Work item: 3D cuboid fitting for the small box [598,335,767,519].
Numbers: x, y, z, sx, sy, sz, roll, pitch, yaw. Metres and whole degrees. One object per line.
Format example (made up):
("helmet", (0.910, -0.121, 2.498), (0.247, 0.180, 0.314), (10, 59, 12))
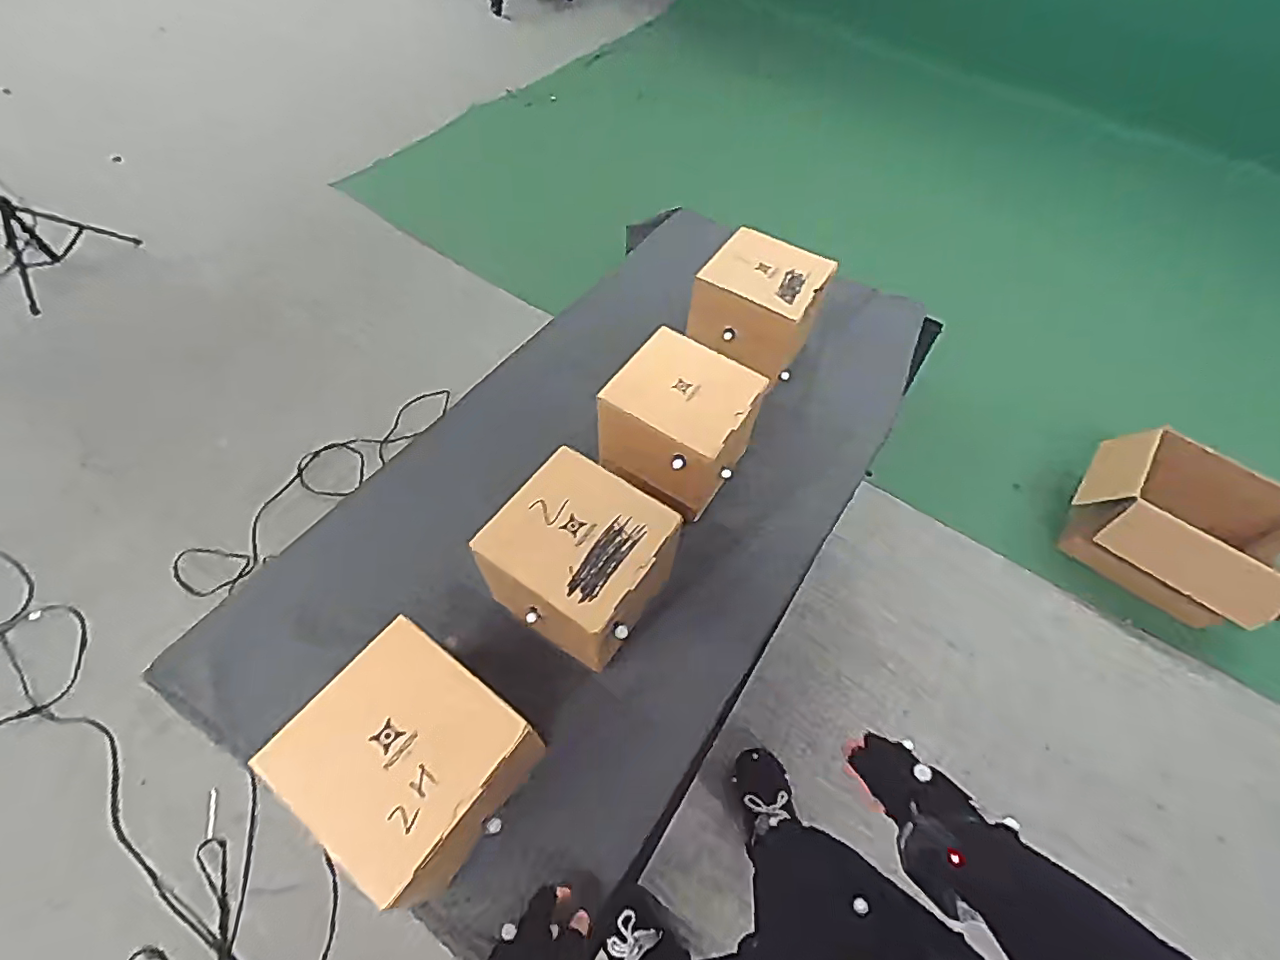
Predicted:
("small box", (0.053, -0.071, 0.786), (0.179, 0.176, 0.168), (30, 60, 14))

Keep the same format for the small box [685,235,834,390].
("small box", (0.195, -0.275, 0.922), (0.179, 0.176, 0.168), (30, 60, 15))

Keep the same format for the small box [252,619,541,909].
("small box", (-0.221, 0.277, 0.537), (0.179, 0.176, 0.168), (33, 61, 18))
